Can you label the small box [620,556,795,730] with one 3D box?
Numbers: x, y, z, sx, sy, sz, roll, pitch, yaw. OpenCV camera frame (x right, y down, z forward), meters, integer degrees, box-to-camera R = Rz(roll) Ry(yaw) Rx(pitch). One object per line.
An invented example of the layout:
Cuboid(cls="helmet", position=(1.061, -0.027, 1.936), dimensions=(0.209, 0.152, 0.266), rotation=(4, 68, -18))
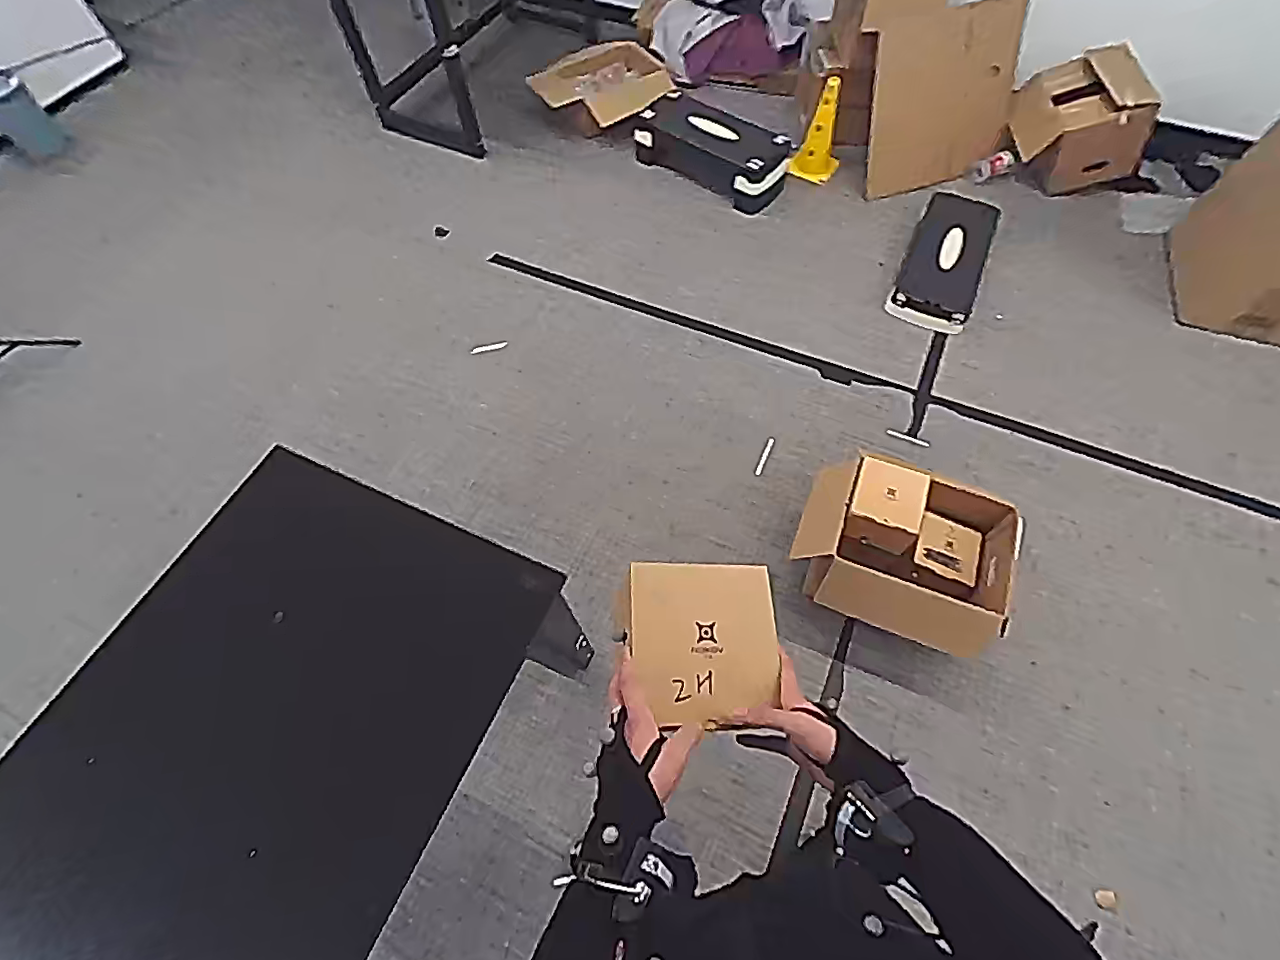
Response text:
Cuboid(cls="small box", position=(0.067, 0.204, 0.652), dimensions=(0.168, 0.176, 0.179), rotation=(4, 65, -8))
